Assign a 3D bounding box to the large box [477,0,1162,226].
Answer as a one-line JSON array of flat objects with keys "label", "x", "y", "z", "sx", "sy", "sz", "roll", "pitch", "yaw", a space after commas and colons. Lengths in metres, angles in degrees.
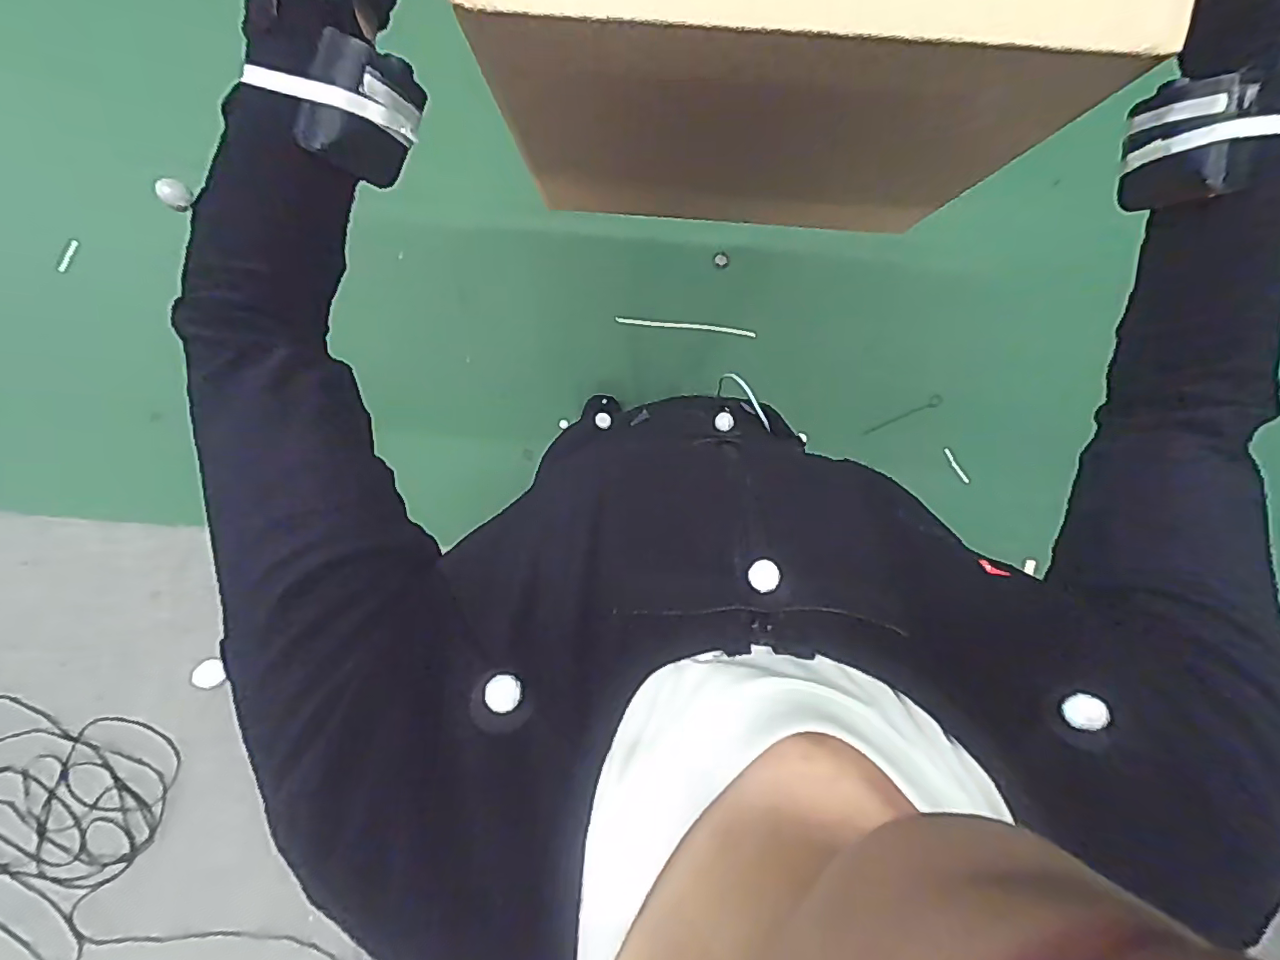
[{"label": "large box", "x": 0.104, "y": -0.423, "z": 0.440, "sx": 0.408, "sy": 0.320, "sz": 0.320, "roll": 3, "pitch": 98, "yaw": -2}]
